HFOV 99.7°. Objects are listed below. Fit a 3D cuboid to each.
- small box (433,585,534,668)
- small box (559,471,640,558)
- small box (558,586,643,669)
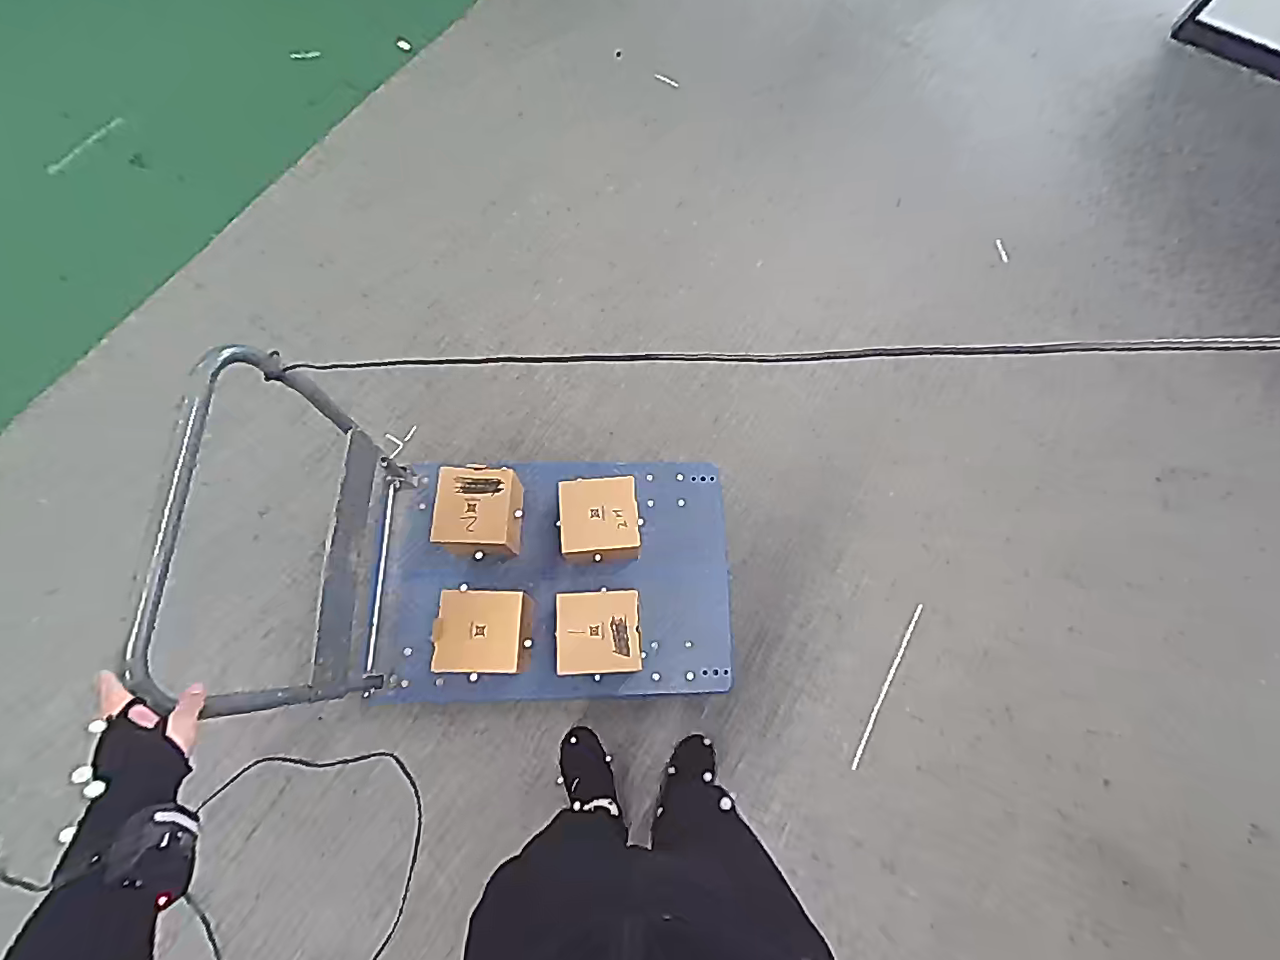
[{"bbox_3d":[-0.336,0.325,1.197,0.179,0.176,0.168,1,72,-1],"label":"small box"},{"bbox_3d":[-0.093,0.086,1.279,0.179,0.176,0.168,-4,73,-3],"label":"small box"},{"bbox_3d":[-0.086,0.328,1.201,0.179,0.176,0.168,-2,72,-1],"label":"small box"}]
